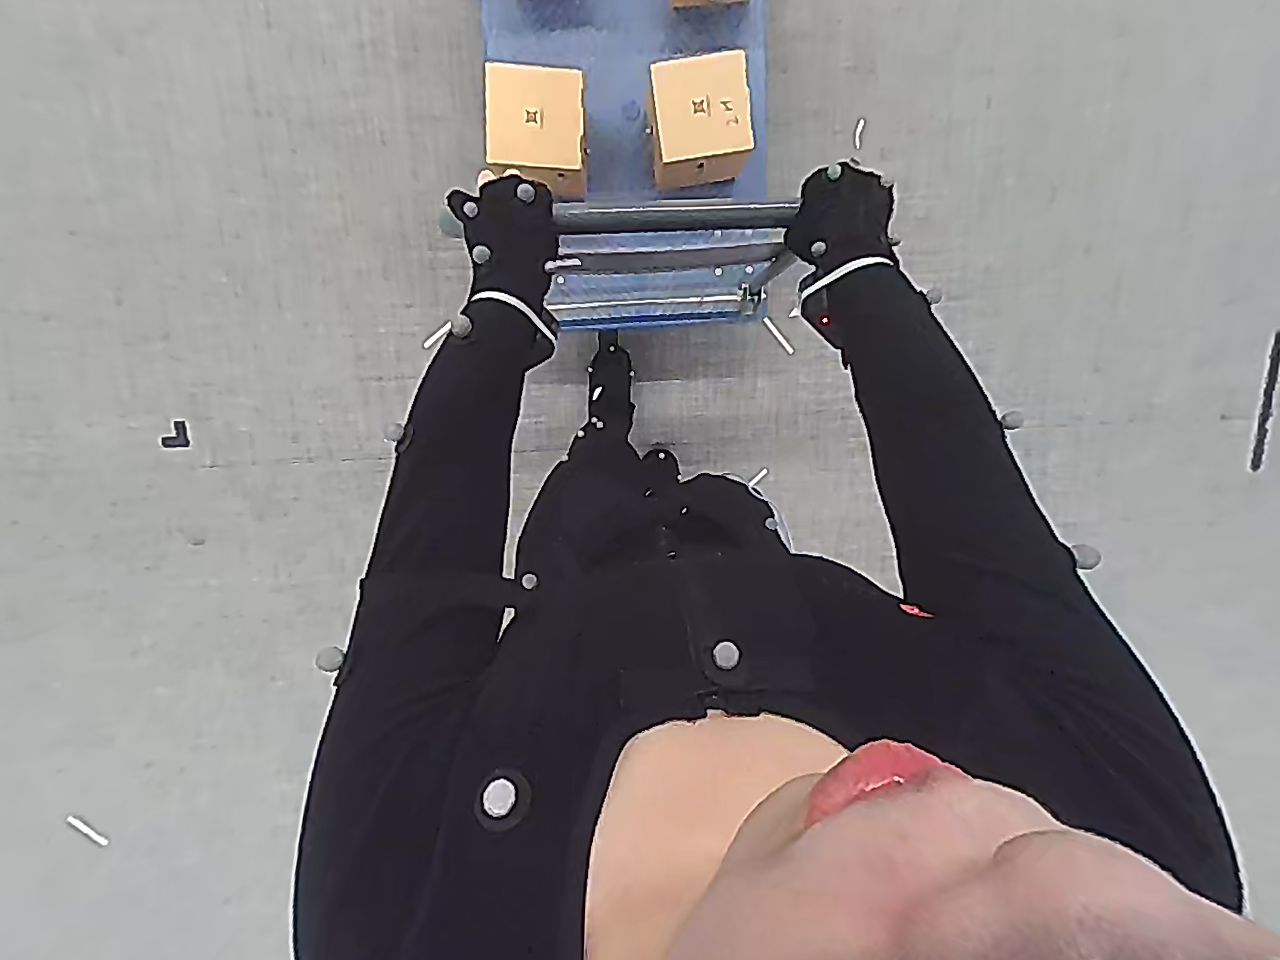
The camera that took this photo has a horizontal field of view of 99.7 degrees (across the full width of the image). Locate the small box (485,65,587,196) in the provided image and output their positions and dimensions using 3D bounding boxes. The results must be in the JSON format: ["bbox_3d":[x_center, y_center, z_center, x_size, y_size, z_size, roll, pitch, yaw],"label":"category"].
[{"bbox_3d":[-0.198,-0.675,1.064,0.179,0.176,0.168,2,102,-4],"label":"small box"}]

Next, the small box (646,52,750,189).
[{"bbox_3d":[0.108,-0.699,1.072,0.179,0.176,0.168,-9,102,0],"label":"small box"}]

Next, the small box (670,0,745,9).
[{"bbox_3d":[0.134,-1.029,1.002,0.168,0.176,0.179,-7,103,-1],"label":"small box"}]
